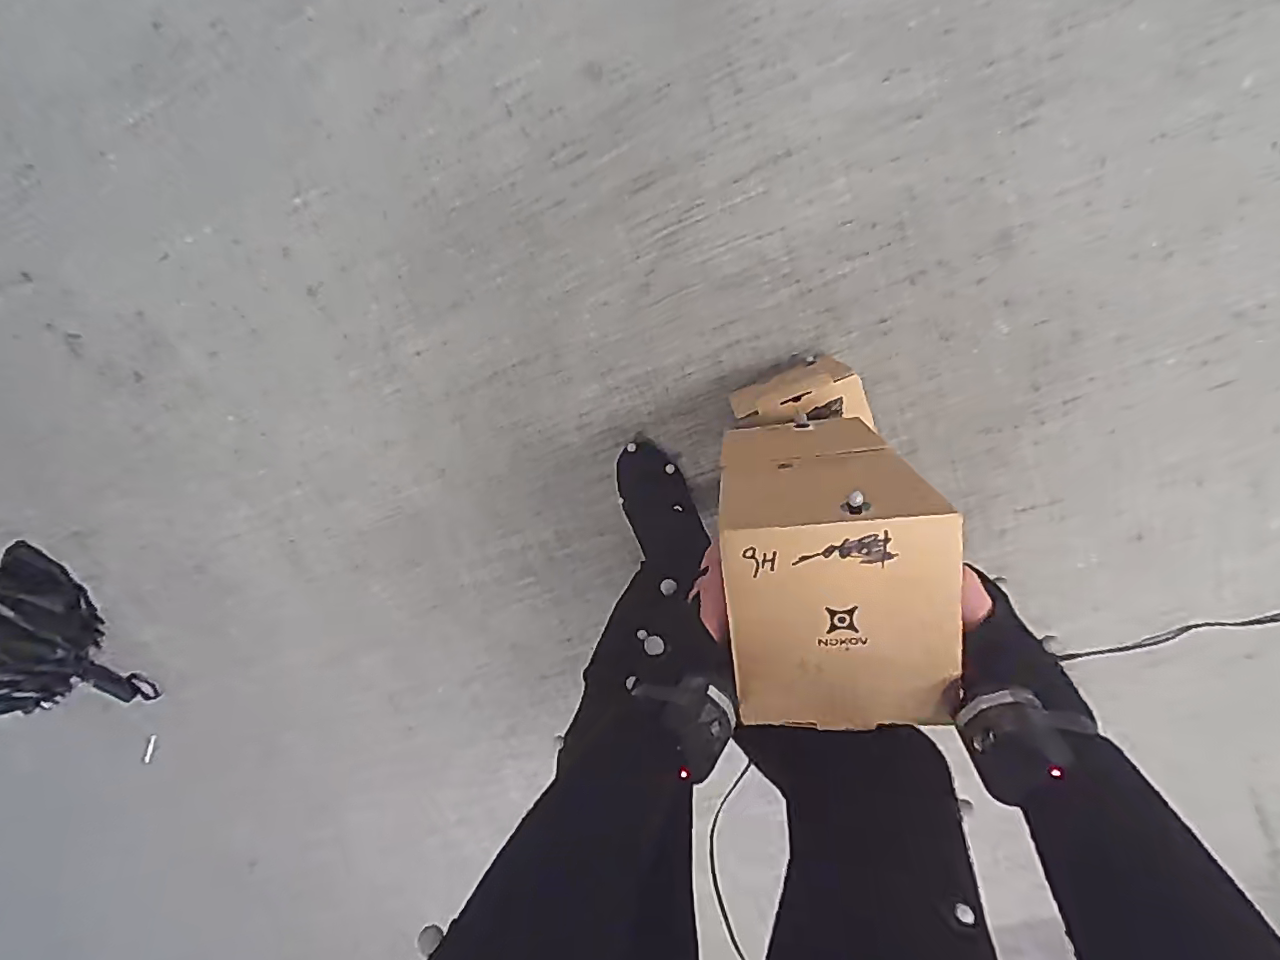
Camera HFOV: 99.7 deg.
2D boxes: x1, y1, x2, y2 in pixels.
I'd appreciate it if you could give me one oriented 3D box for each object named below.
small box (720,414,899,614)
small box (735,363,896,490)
[{"bbox_3d":[0.190,0.033,0.628,0.168,0.176,0.179,-8,105,13],"label":"small box"},{"bbox_3d":[0.248,-0.062,0.802,0.168,0.176,0.179,-21,108,13],"label":"small box"}]
